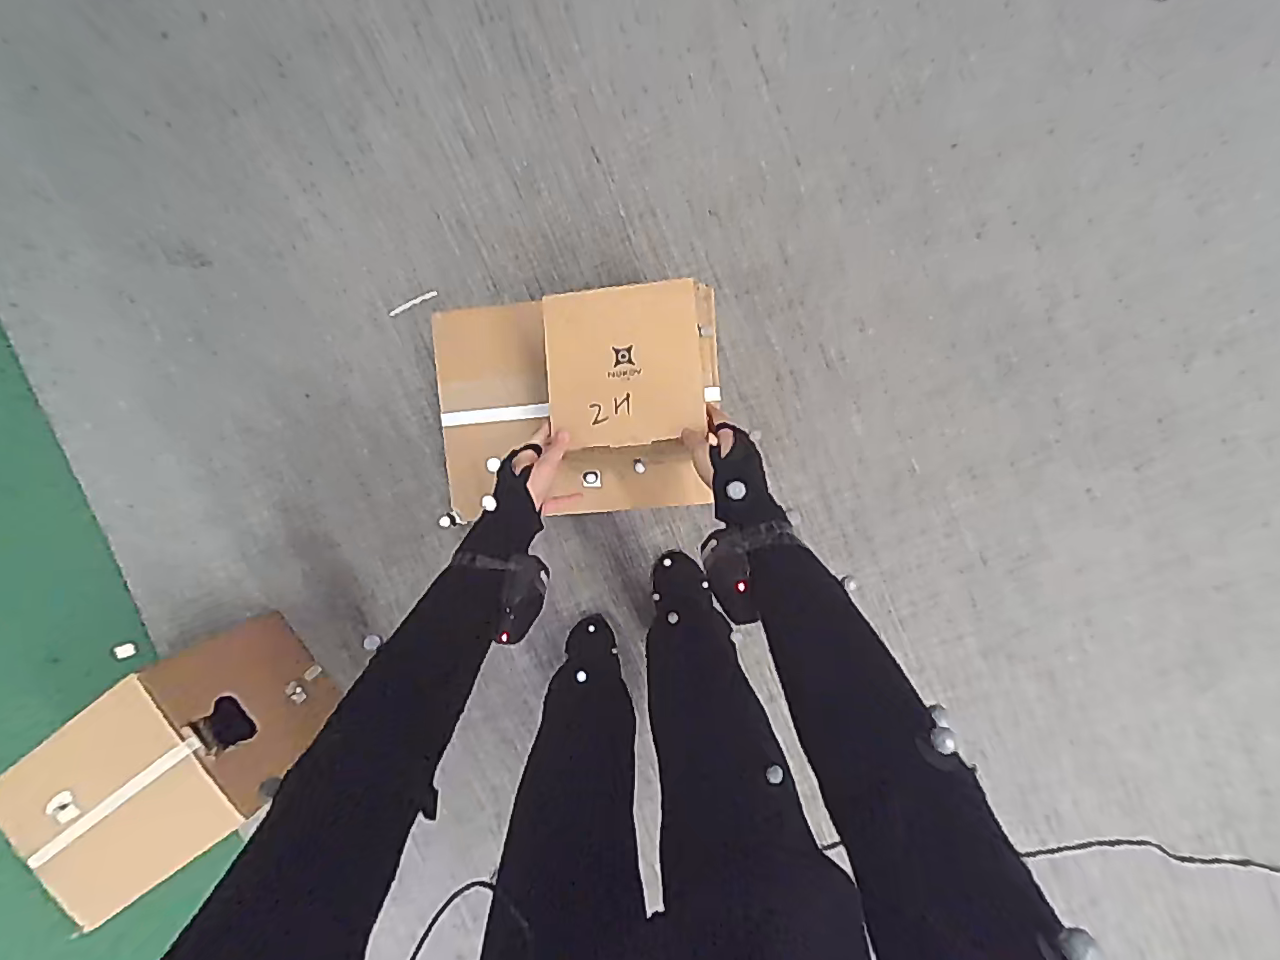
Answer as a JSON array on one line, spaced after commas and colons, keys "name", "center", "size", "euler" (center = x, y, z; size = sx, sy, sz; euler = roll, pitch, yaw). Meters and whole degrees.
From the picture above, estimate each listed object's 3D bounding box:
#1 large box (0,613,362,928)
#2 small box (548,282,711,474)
[{"name": "large box", "center": [-0.864, 0.536, 1.066], "size": [0.408, 0.320, 0.320], "euler": [-36, 90, 8]}, {"name": "small box", "center": [-0.008, -0.110, 0.648], "size": [0.168, 0.176, 0.179], "euler": [-5, 83, 5]}]
